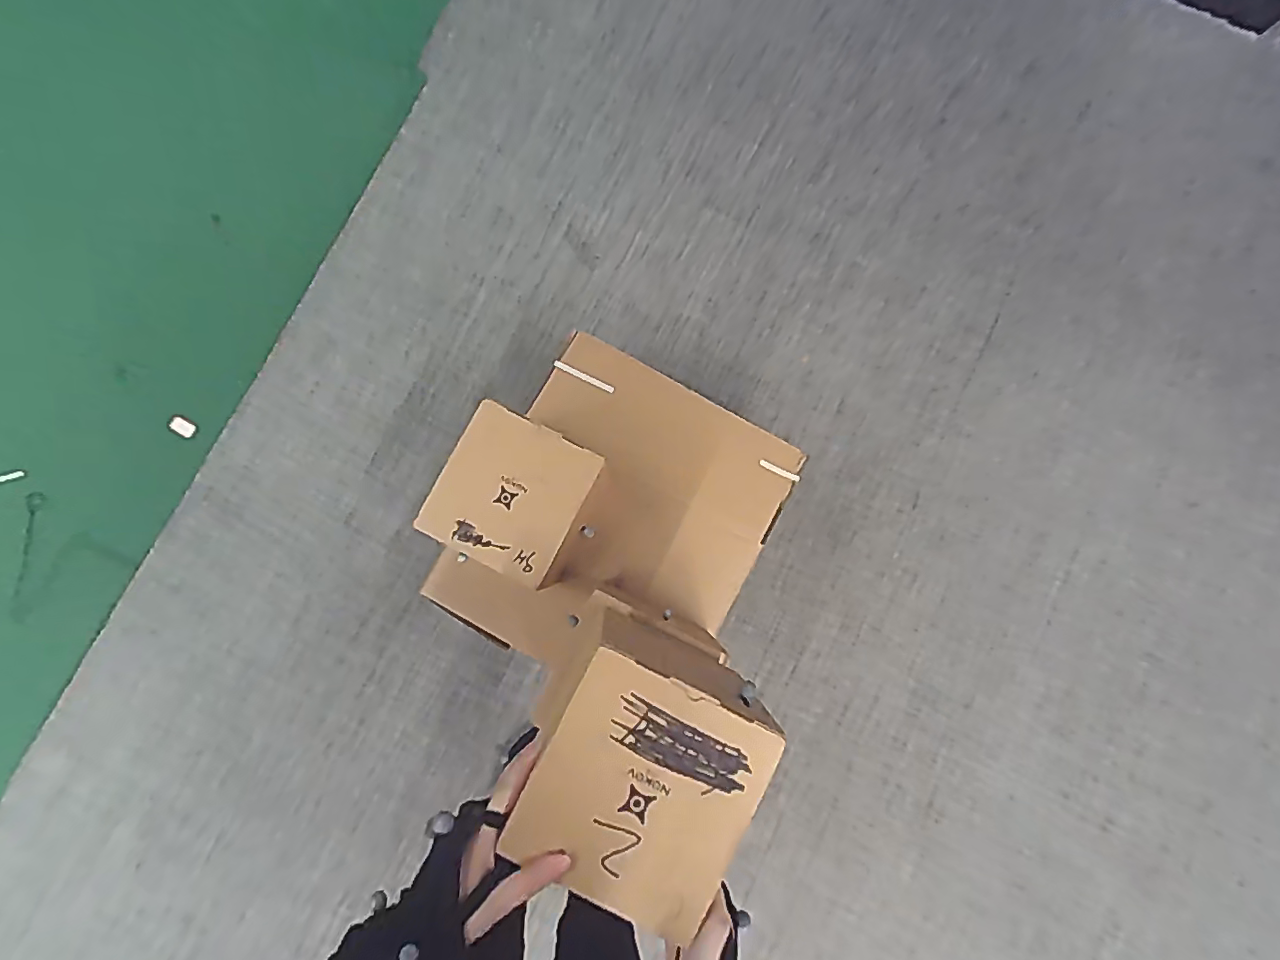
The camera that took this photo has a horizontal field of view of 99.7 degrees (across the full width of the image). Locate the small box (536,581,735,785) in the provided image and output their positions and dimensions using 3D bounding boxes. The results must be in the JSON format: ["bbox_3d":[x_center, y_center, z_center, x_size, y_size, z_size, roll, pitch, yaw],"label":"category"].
[{"bbox_3d":[-0.006,0.238,0.686,0.179,0.176,0.168,26,83,1],"label":"small box"}]

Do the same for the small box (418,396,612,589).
[{"bbox_3d":[-0.149,0.022,0.705,0.168,0.176,0.179,27,82,2],"label":"small box"}]
